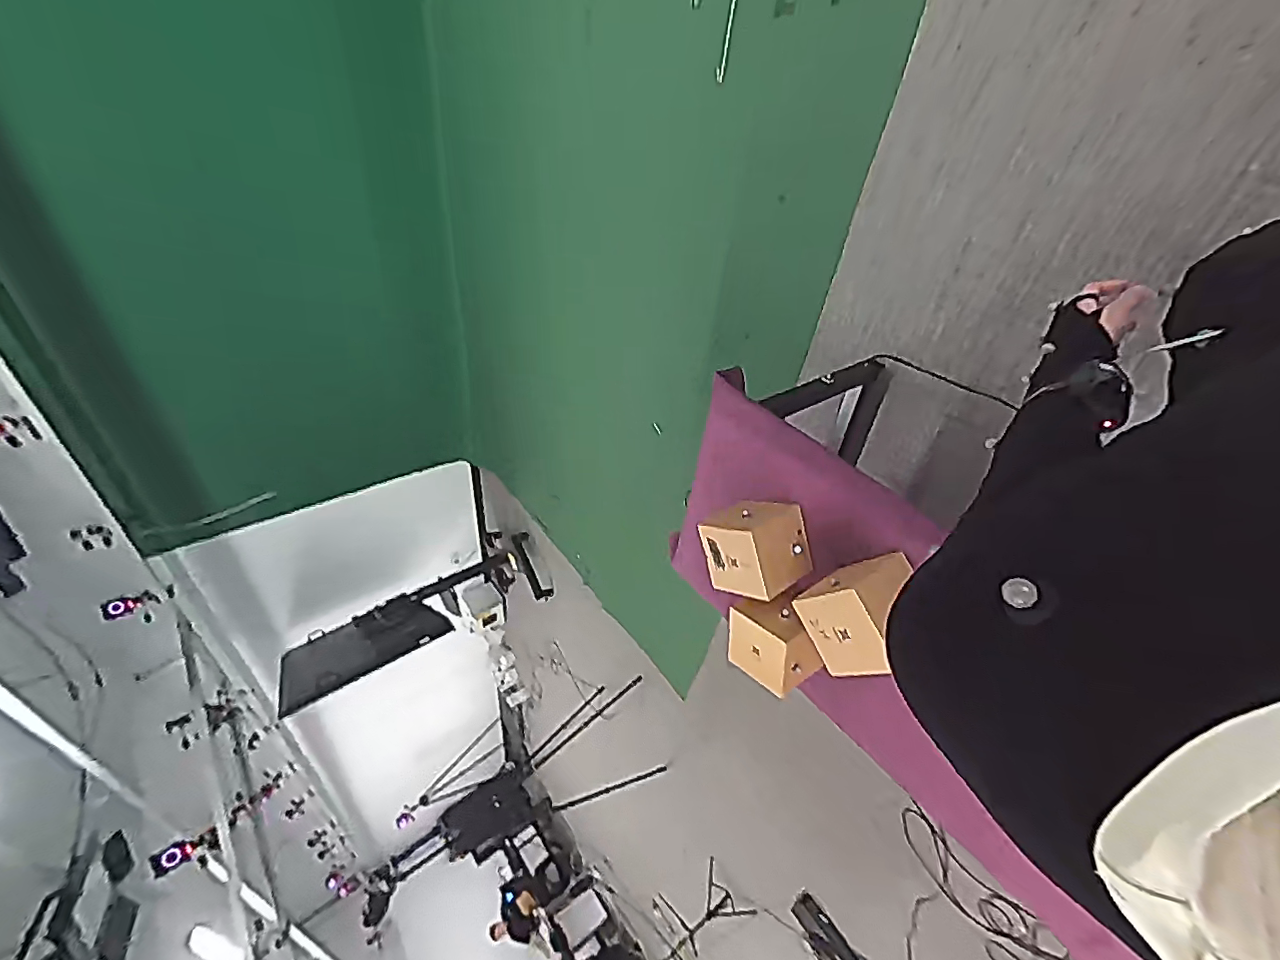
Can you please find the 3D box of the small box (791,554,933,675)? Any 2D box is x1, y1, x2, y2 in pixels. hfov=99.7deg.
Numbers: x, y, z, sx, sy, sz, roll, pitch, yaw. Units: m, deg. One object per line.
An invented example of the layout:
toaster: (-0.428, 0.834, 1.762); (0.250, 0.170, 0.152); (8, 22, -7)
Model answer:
small box: (0.444, 0.264, 1.069); (0.168, 0.176, 0.179); (62, 147, 7)

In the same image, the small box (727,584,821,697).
small box: (0.331, 0.374, 1.308); (0.168, 0.176, 0.179); (27, 130, 45)

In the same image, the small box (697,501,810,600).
small box: (0.265, 0.155, 1.261); (0.179, 0.176, 0.168); (1, 111, 54)
